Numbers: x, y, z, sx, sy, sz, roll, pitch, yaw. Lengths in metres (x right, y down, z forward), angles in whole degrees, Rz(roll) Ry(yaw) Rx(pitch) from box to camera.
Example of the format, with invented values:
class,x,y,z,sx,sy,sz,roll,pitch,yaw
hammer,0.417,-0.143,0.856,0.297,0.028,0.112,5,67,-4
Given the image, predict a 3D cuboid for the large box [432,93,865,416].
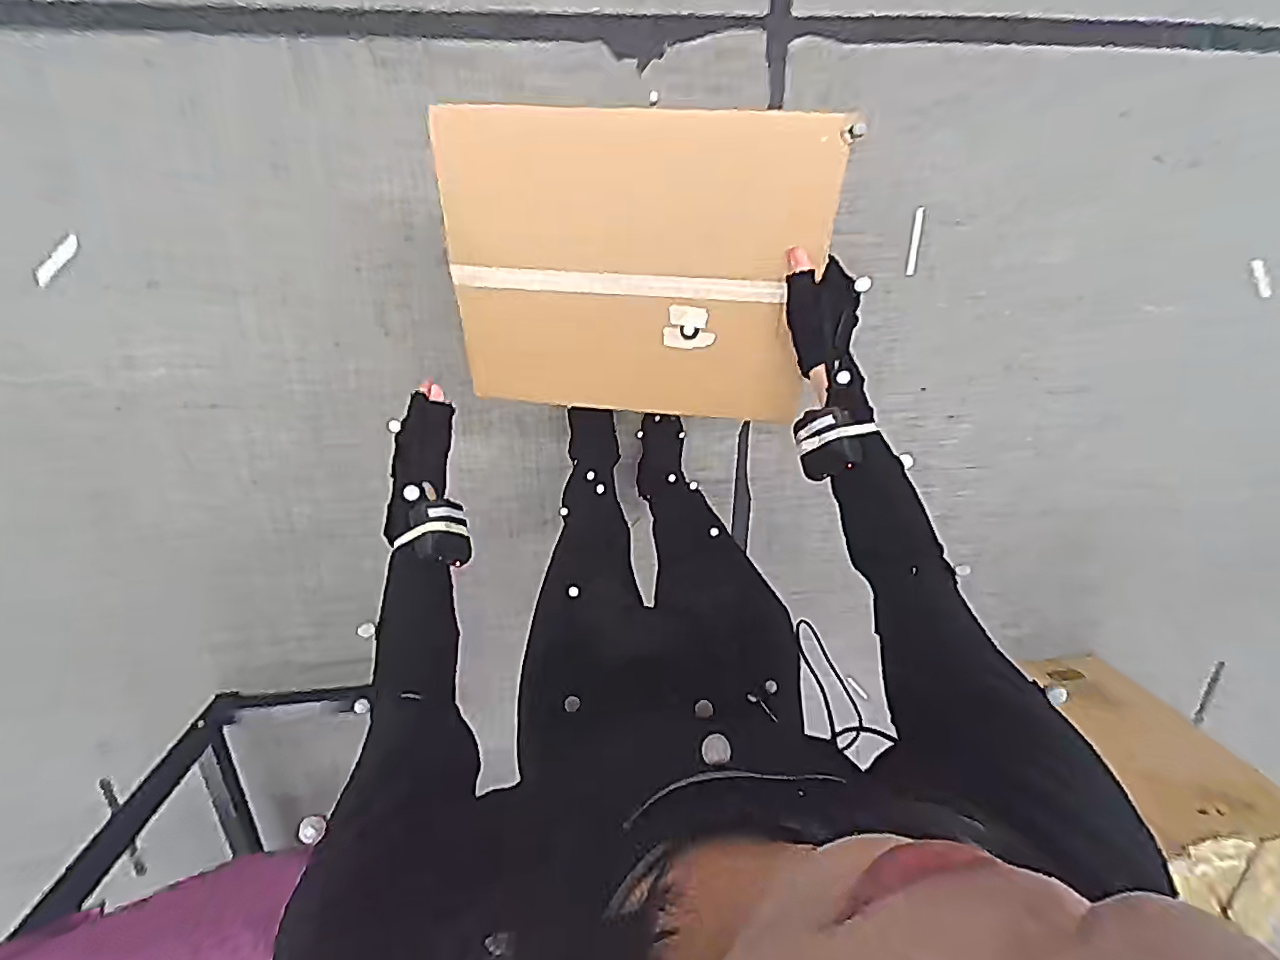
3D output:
class,x,y,z,sx,sy,sz,roll,pitch,yaw
large box,0.015,-0.296,0.693,0.408,0.320,0.320,5,125,5
